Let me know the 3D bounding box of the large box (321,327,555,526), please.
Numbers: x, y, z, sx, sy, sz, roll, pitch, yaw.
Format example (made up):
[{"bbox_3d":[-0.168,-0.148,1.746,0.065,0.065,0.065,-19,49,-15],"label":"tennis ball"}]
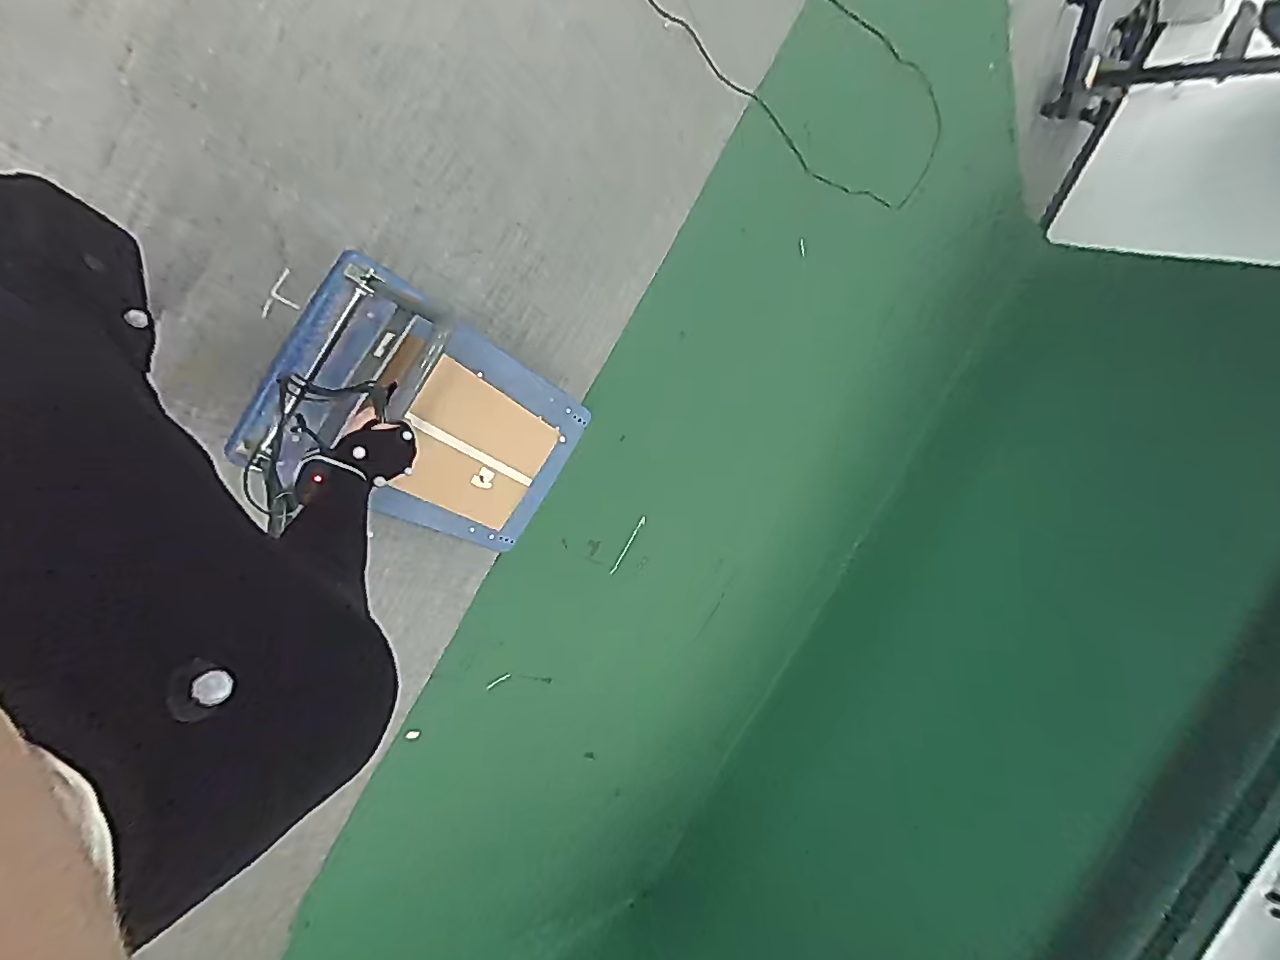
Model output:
[{"bbox_3d":[-0.510,-0.132,1.386,0.408,0.320,0.320,35,88,-49],"label":"large box"}]
